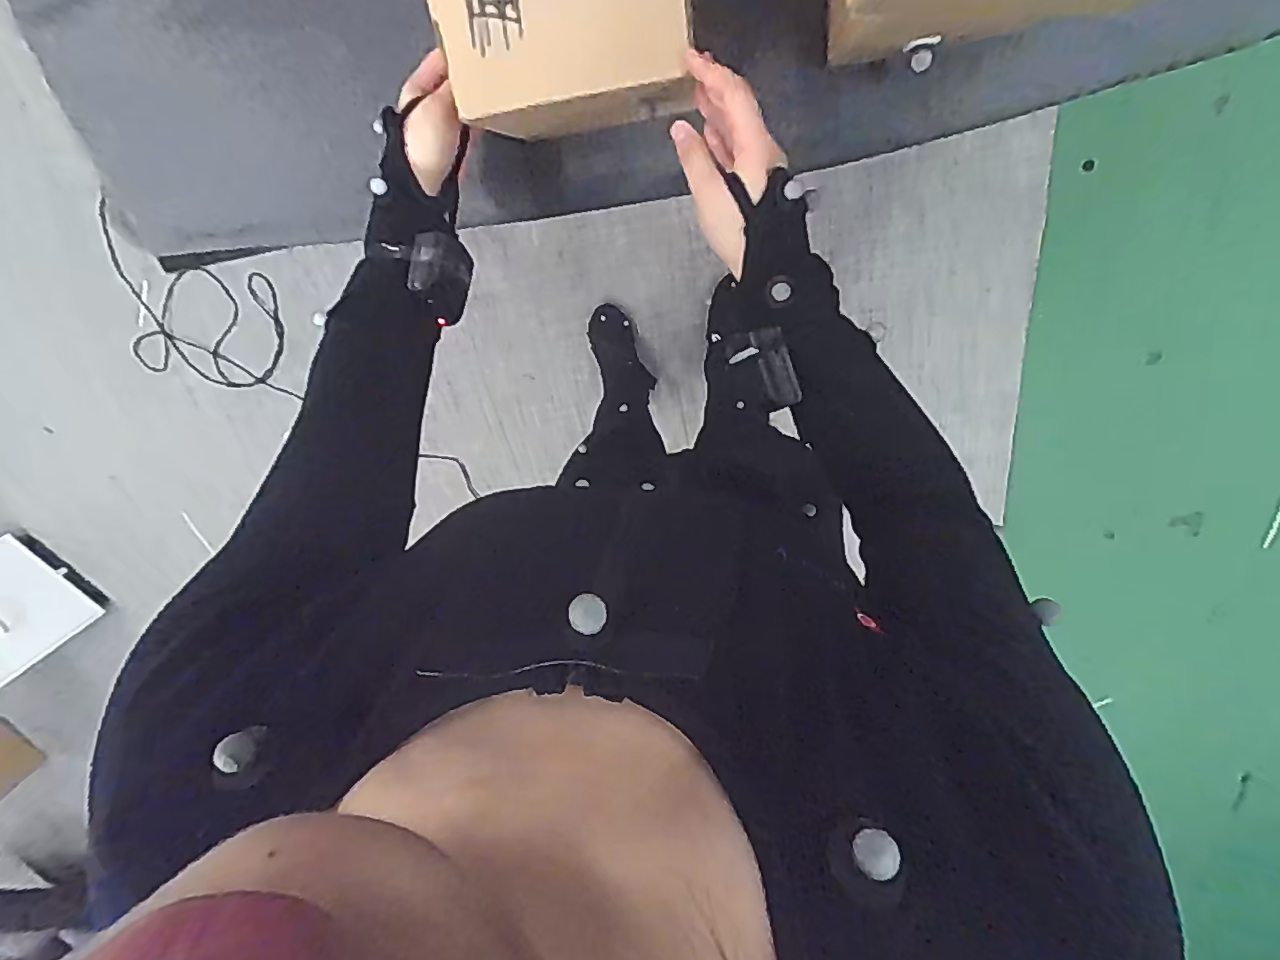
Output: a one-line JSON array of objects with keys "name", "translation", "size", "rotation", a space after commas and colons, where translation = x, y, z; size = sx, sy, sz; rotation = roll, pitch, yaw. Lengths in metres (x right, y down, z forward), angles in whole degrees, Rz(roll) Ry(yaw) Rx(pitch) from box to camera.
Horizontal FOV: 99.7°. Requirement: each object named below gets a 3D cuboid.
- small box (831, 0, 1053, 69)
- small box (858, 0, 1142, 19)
[{"name": "small box", "translation": [0.231, -0.418, 0.370], "size": [0.168, 0.176, 0.179], "rotation": [-4, 117, 11]}, {"name": "small box", "translation": [0.215, -0.329, 0.235], "size": [0.179, 0.176, 0.168], "rotation": [5, 118, 6]}]
